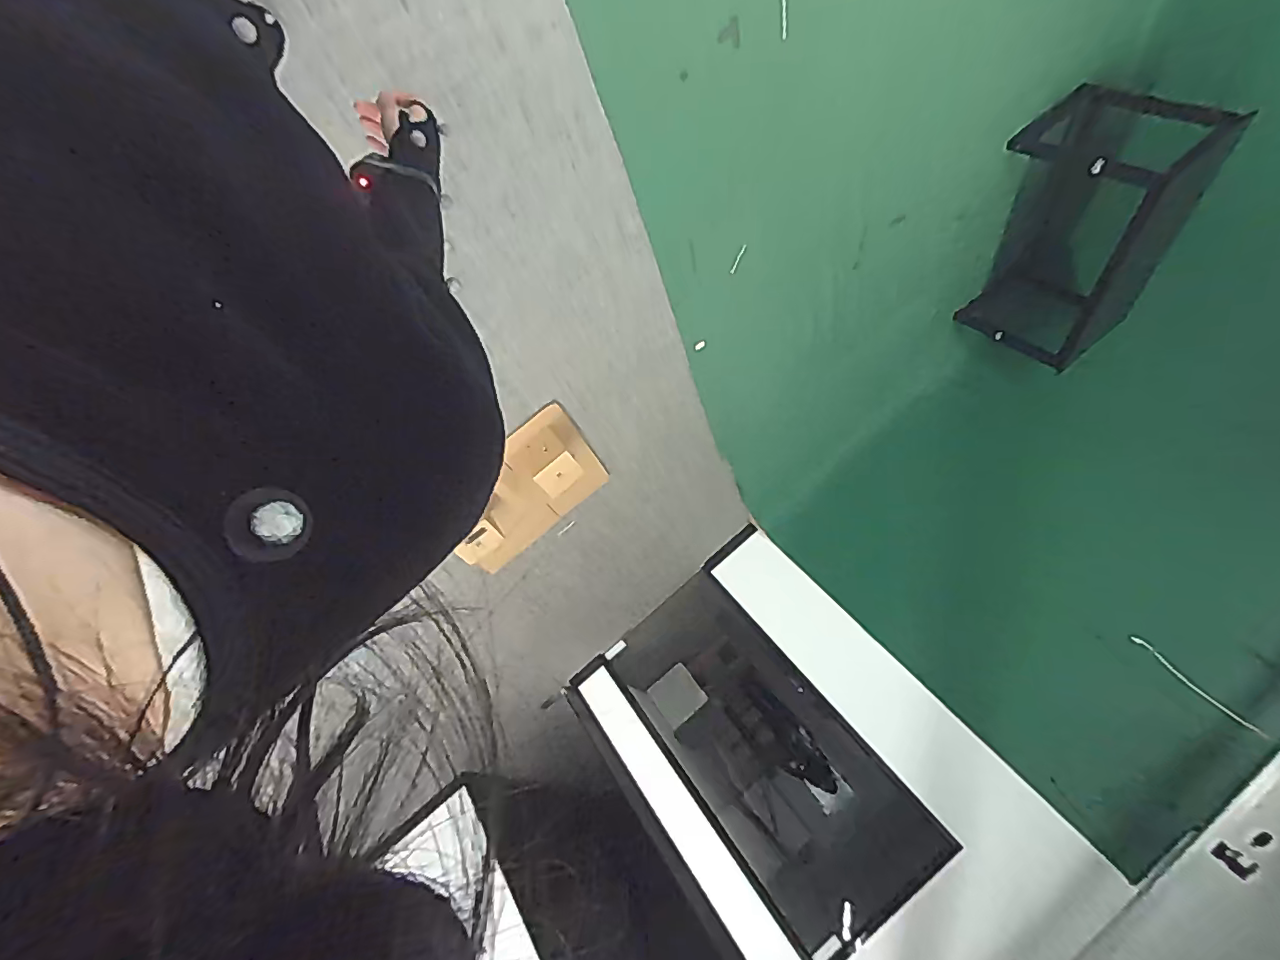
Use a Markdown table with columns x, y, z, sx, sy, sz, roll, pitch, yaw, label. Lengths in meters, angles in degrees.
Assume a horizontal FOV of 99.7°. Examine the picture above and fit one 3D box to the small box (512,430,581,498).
| x | y | z | sx | sy | sz | roll | pitch | yaw | label |
| --- | --- | --- | --- | --- | --- | --- | --- | --- | --- |
| -0.364 | -0.067 | 2.082 | 0.168 | 0.176 | 0.179 | -40 | 148 | -4 | small box |
